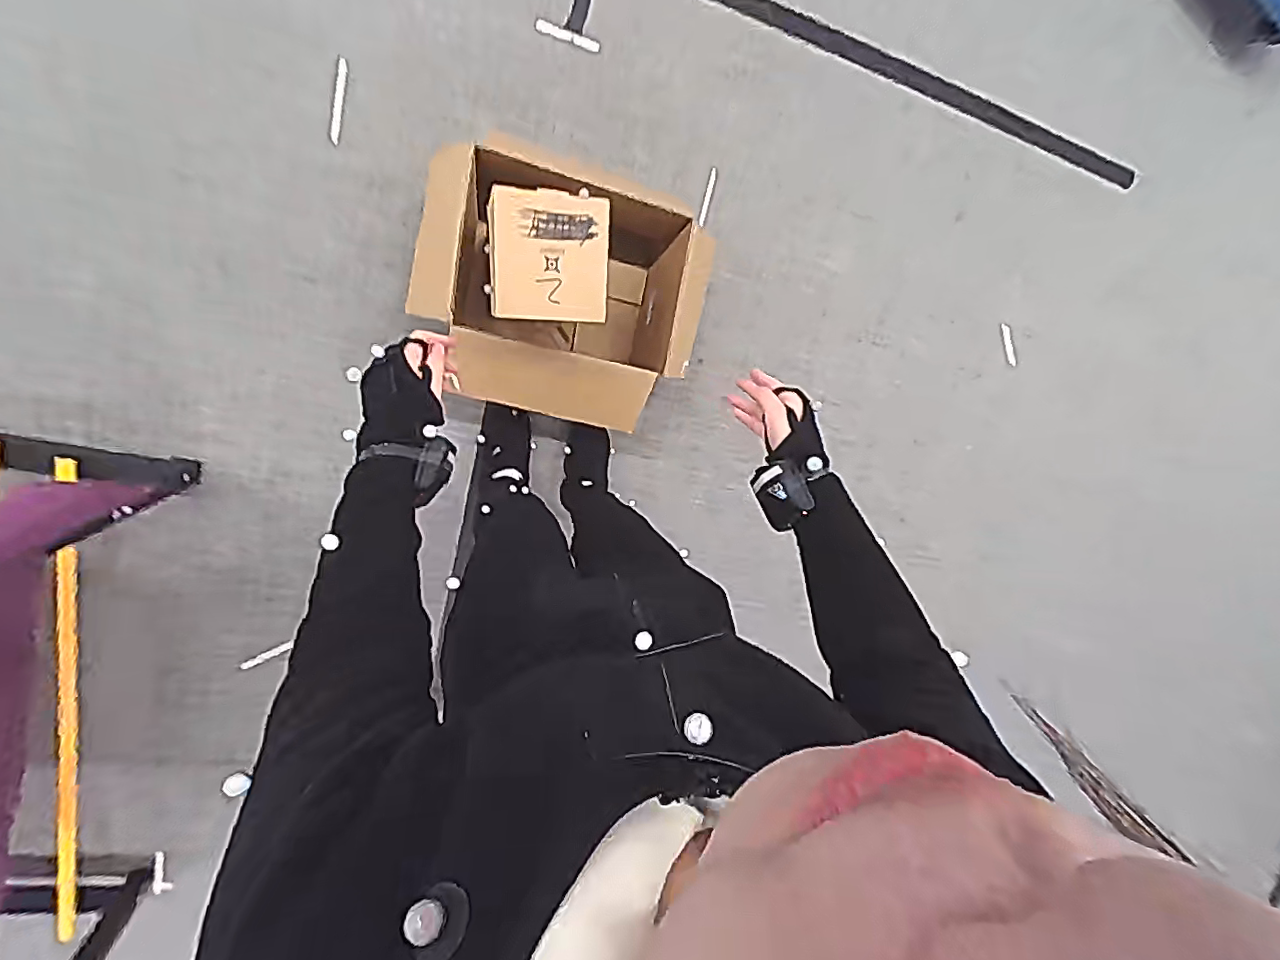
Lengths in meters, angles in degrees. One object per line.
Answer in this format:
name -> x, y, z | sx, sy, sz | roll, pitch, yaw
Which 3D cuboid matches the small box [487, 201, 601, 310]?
small box -> -0.183, -0.411, 1.008 | 0.179, 0.176, 0.168 | -12, 110, -14
